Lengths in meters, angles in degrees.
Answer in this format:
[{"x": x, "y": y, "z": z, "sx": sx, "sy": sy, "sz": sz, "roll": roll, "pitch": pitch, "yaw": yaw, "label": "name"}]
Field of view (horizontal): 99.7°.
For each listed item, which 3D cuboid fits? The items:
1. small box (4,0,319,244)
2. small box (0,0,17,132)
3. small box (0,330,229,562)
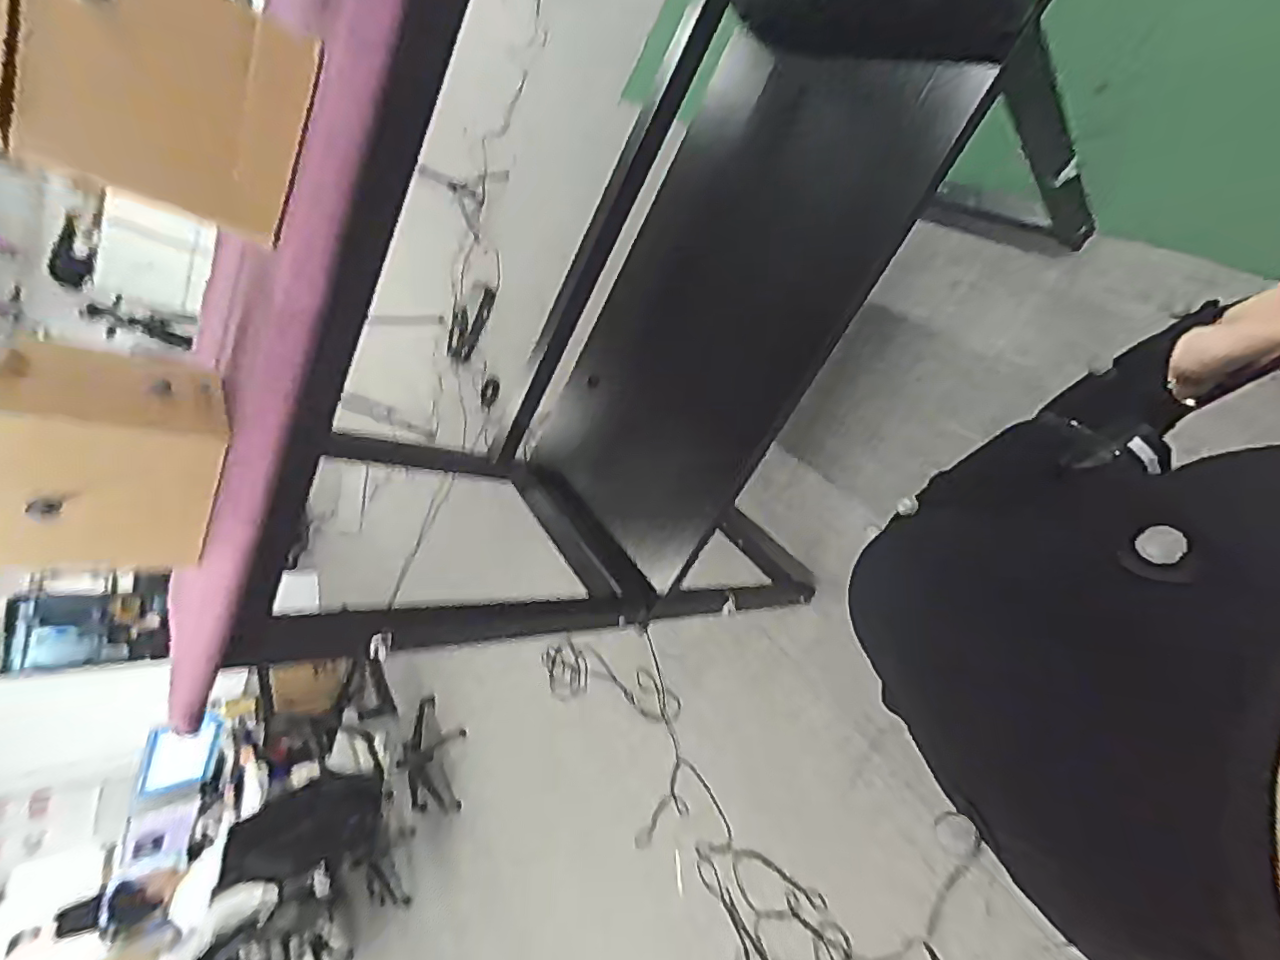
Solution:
[{"x": -0.395, "y": -0.335, "z": 0.466, "sx": 0.168, "sy": 0.176, "sz": 0.179, "roll": 47, "pitch": 116, "yaw": 40, "label": "small box"}, {"x": -0.508, "y": -0.360, "z": 0.352, "sx": 0.179, "sy": 0.176, "sz": 0.168, "roll": 45, "pitch": 113, "yaw": 42, "label": "small box"}, {"x": -0.555, "y": -0.026, "z": 0.572, "sx": 0.168, "sy": 0.176, "sz": 0.179, "roll": 45, "pitch": 114, "yaw": 38, "label": "small box"}]
